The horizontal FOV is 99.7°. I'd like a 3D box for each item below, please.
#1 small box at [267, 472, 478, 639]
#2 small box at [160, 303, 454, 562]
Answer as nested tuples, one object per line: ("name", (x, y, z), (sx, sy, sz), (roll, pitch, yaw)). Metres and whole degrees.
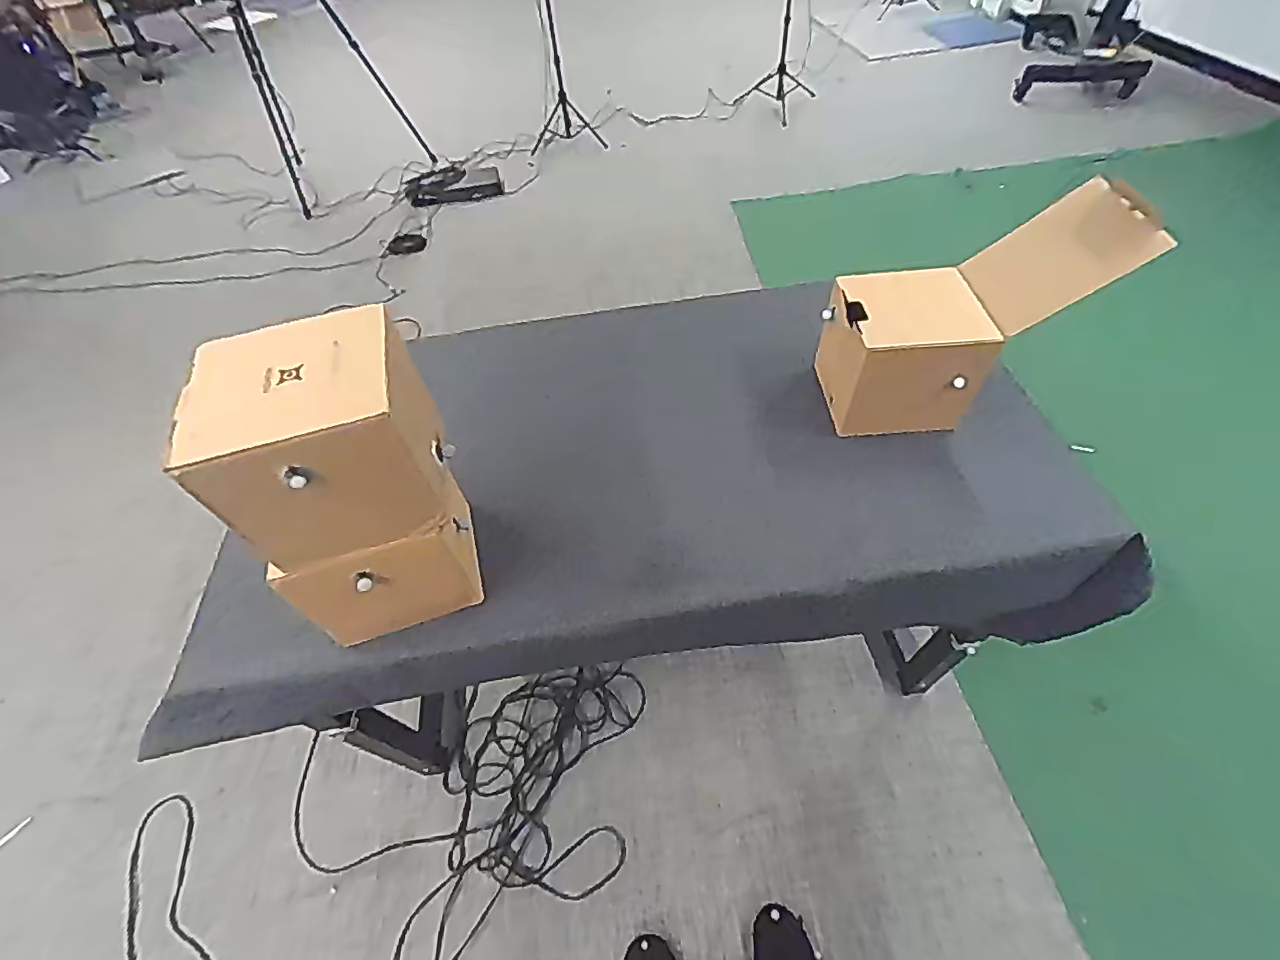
("small box", (-0.307, 0.067, 0.658), (0.179, 0.176, 0.168), (-17, 52, -8))
("small box", (-0.304, -0.042, 0.535), (0.179, 0.176, 0.168), (-16, 53, -9))
